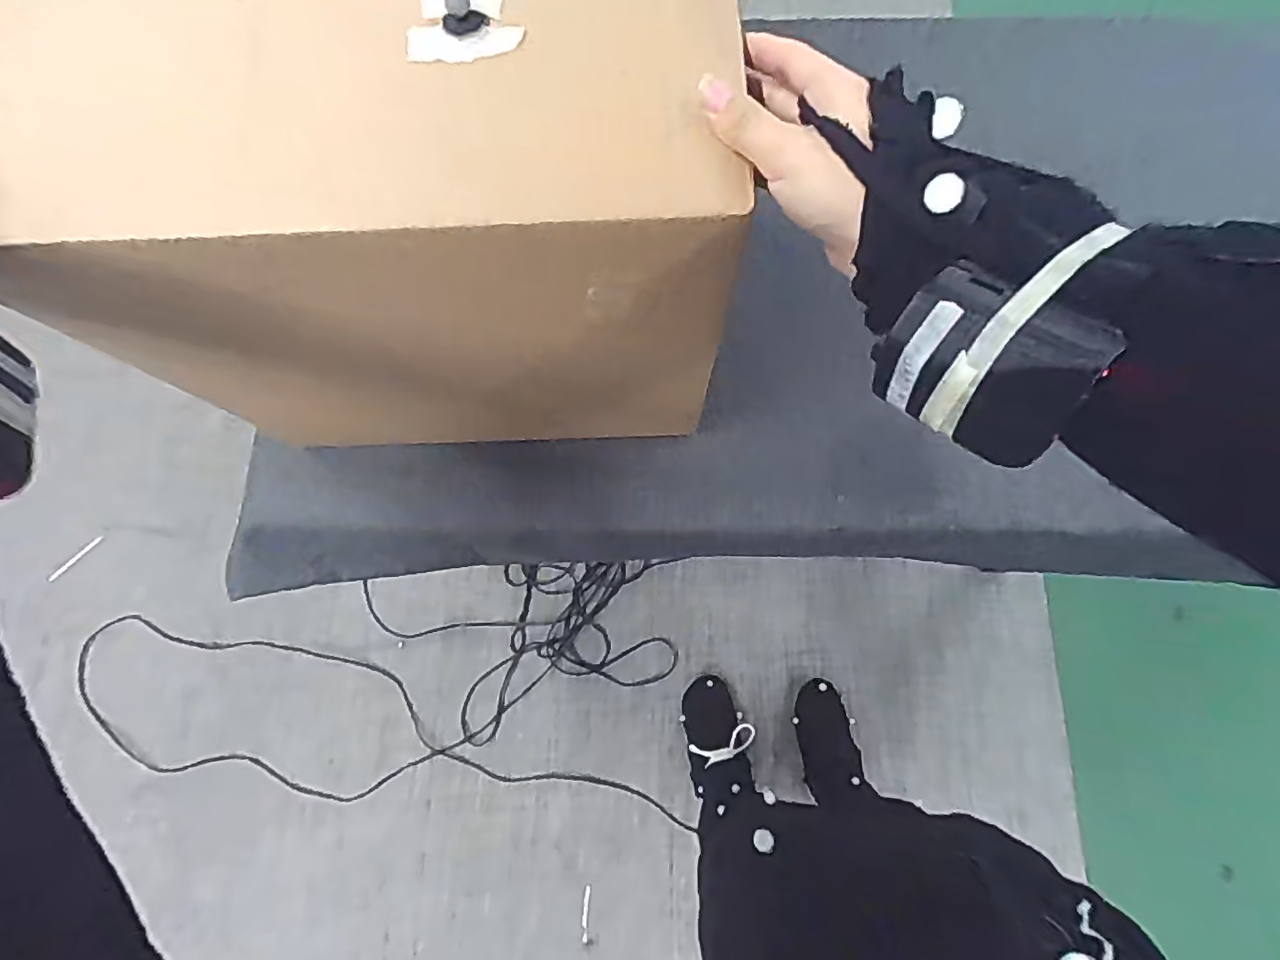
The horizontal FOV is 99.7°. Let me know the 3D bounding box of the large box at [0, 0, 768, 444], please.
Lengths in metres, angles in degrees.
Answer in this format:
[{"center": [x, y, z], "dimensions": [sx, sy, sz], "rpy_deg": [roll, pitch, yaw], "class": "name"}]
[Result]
[{"center": [-0.145, -0.228, 0.437], "dimensions": [0.408, 0.320, 0.320], "rpy_deg": [-2, 76, -1], "class": "large box"}]
